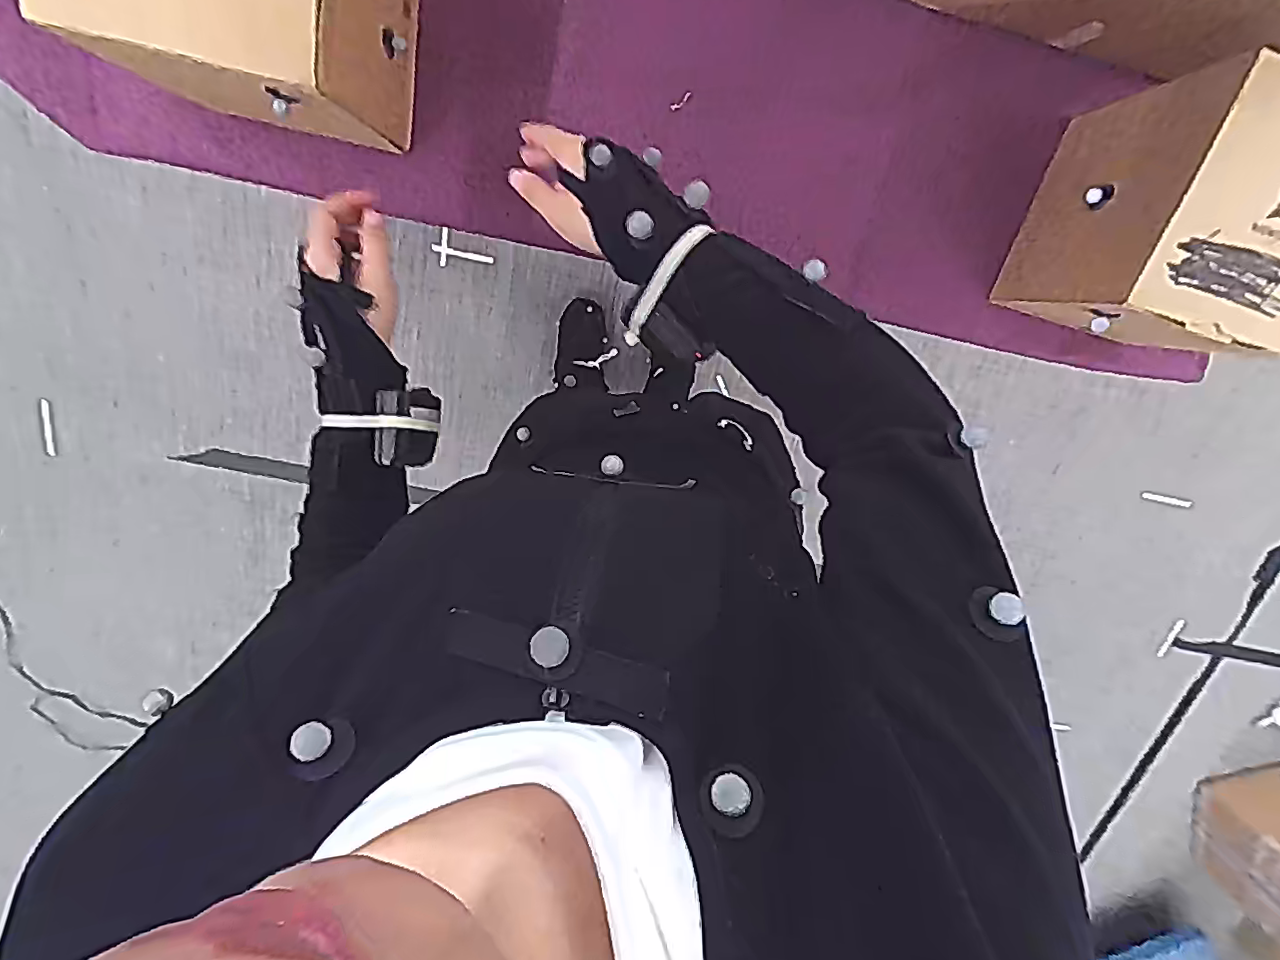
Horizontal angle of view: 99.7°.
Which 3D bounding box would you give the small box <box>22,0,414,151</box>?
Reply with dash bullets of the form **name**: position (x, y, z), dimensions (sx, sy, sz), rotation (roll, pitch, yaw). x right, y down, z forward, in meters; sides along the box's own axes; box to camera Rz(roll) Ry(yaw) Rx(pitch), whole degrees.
- **small box**: position (-0.289, -0.370, 0.401), dimensions (0.179, 0.176, 0.168), rotation (9, 108, -7)
